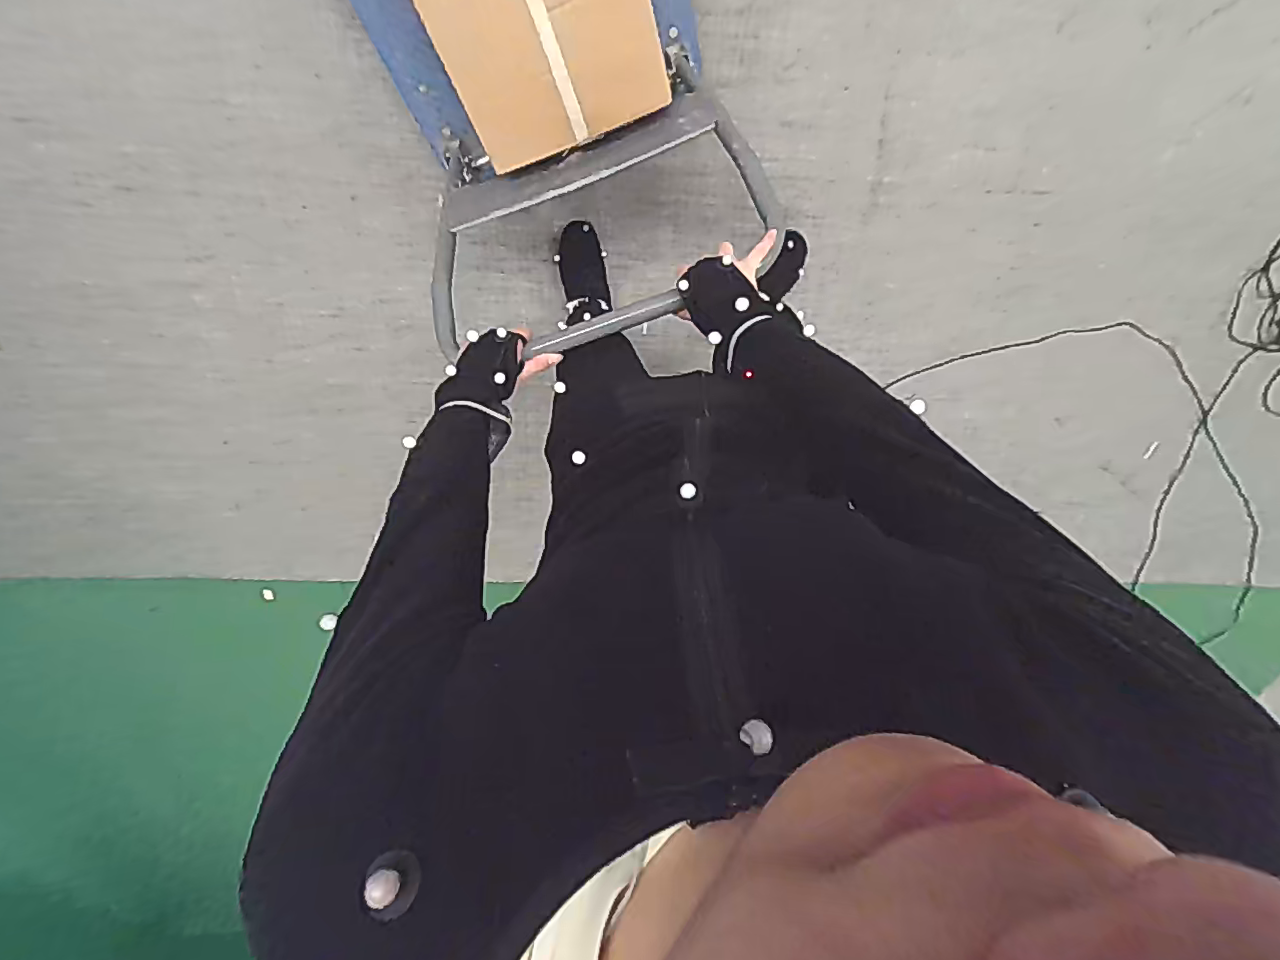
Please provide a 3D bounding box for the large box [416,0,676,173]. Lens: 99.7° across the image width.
[{"bbox_3d":[-0.164,-0.782,0.834,0.320,0.320,0.408,-18,137,9],"label":"large box"}]
